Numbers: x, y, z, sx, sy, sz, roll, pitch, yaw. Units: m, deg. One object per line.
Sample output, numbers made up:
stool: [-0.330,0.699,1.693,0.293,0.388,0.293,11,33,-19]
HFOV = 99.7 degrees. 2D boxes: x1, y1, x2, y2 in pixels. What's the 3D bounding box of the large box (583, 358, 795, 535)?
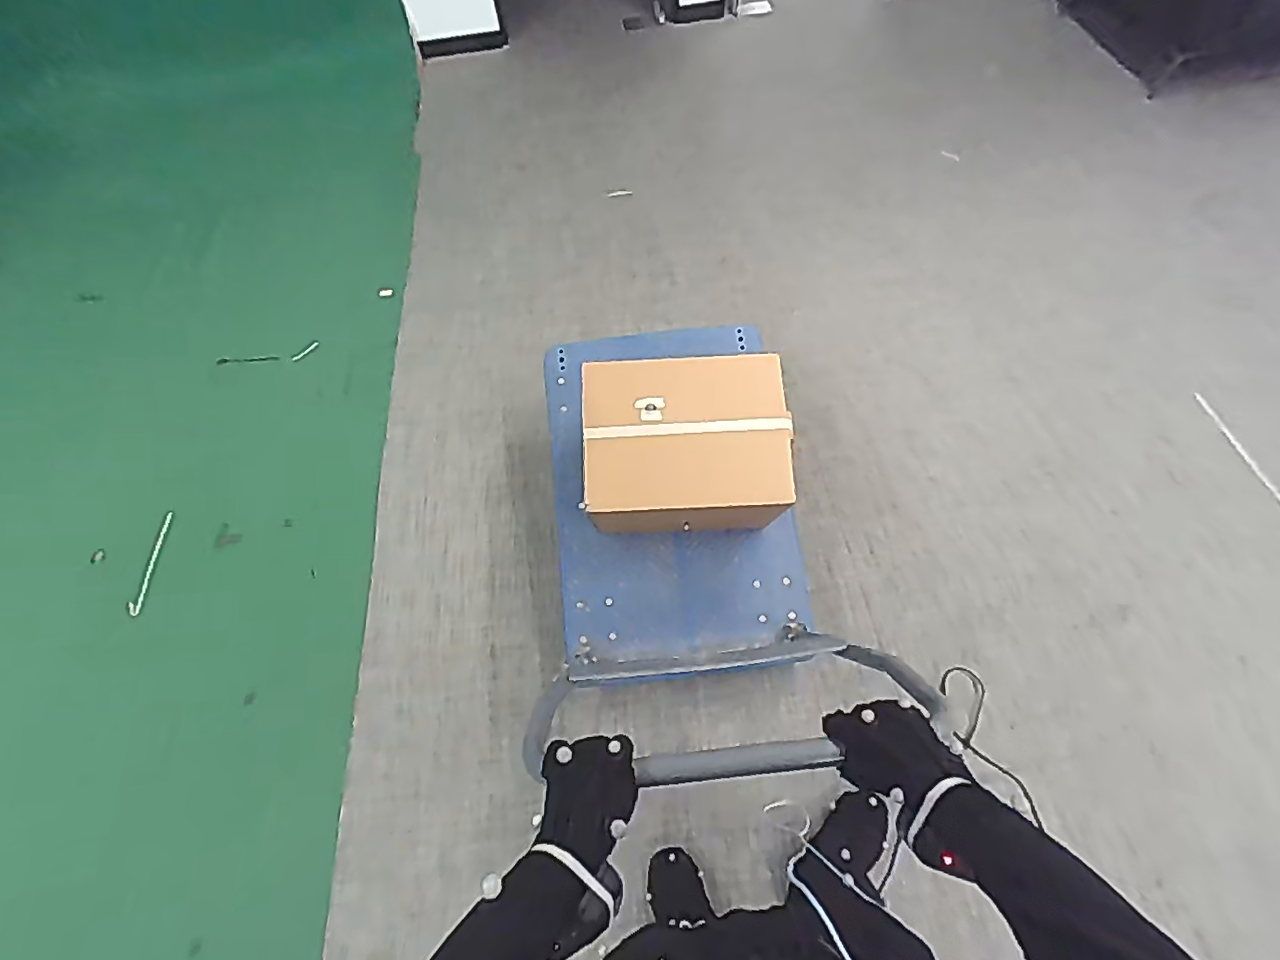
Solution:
large box: [0.098,-0.053,1.207,0.408,0.320,0.320,-3,76,2]
